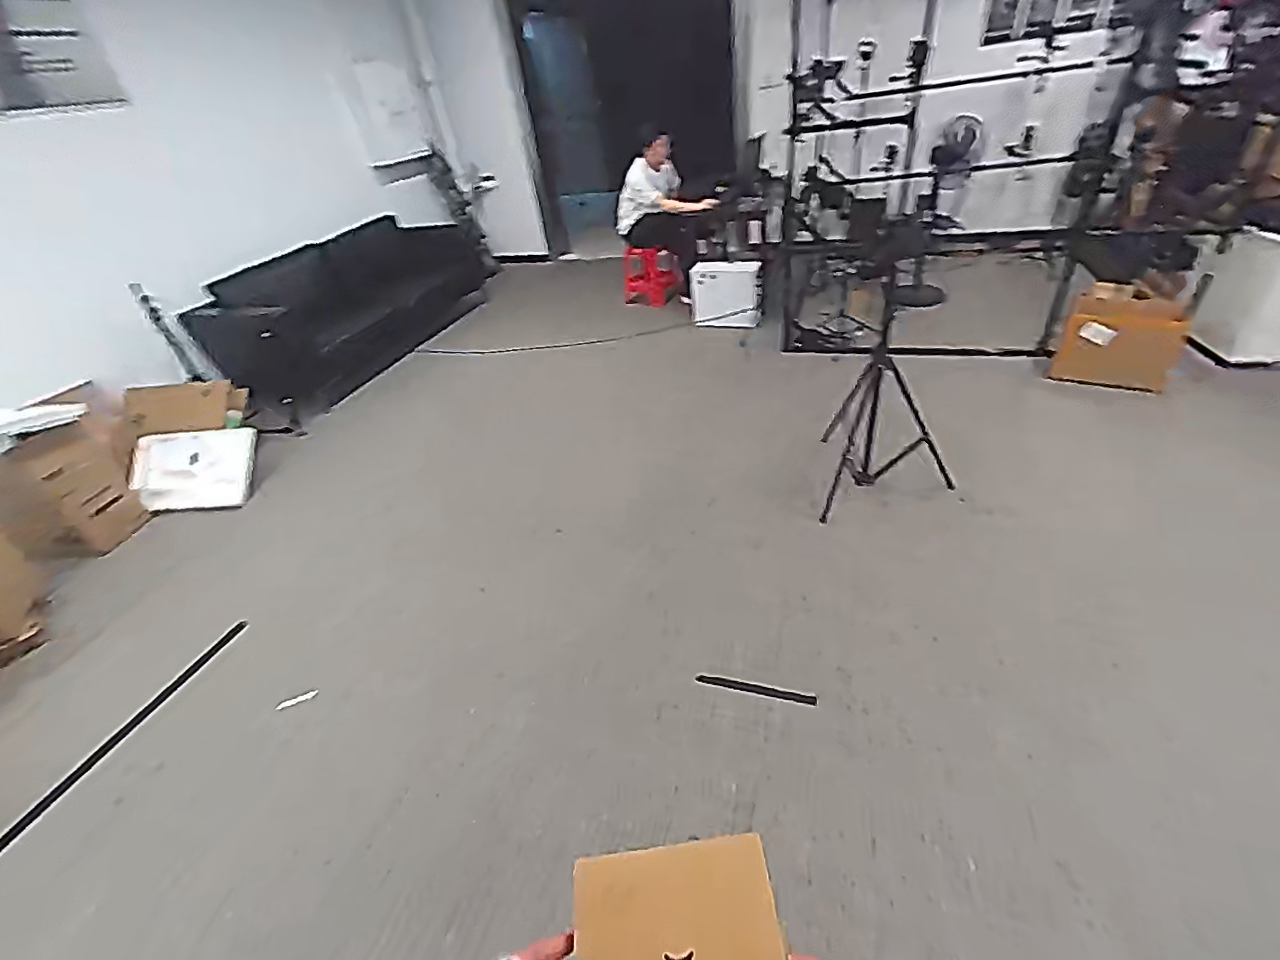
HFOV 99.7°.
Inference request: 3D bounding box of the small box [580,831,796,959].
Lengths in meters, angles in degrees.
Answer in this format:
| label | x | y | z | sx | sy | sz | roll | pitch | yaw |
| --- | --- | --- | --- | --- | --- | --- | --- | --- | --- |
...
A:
| label | x | y | z | sx | sy | sz | roll | pitch | yaw |
| --- | --- | --- | --- | --- | --- | --- | --- | --- | --- |
| small box | 0.045 | 0.429 | 0.463 | 0.168 | 0.176 | 0.179 | -10 | 48 | 0 |
